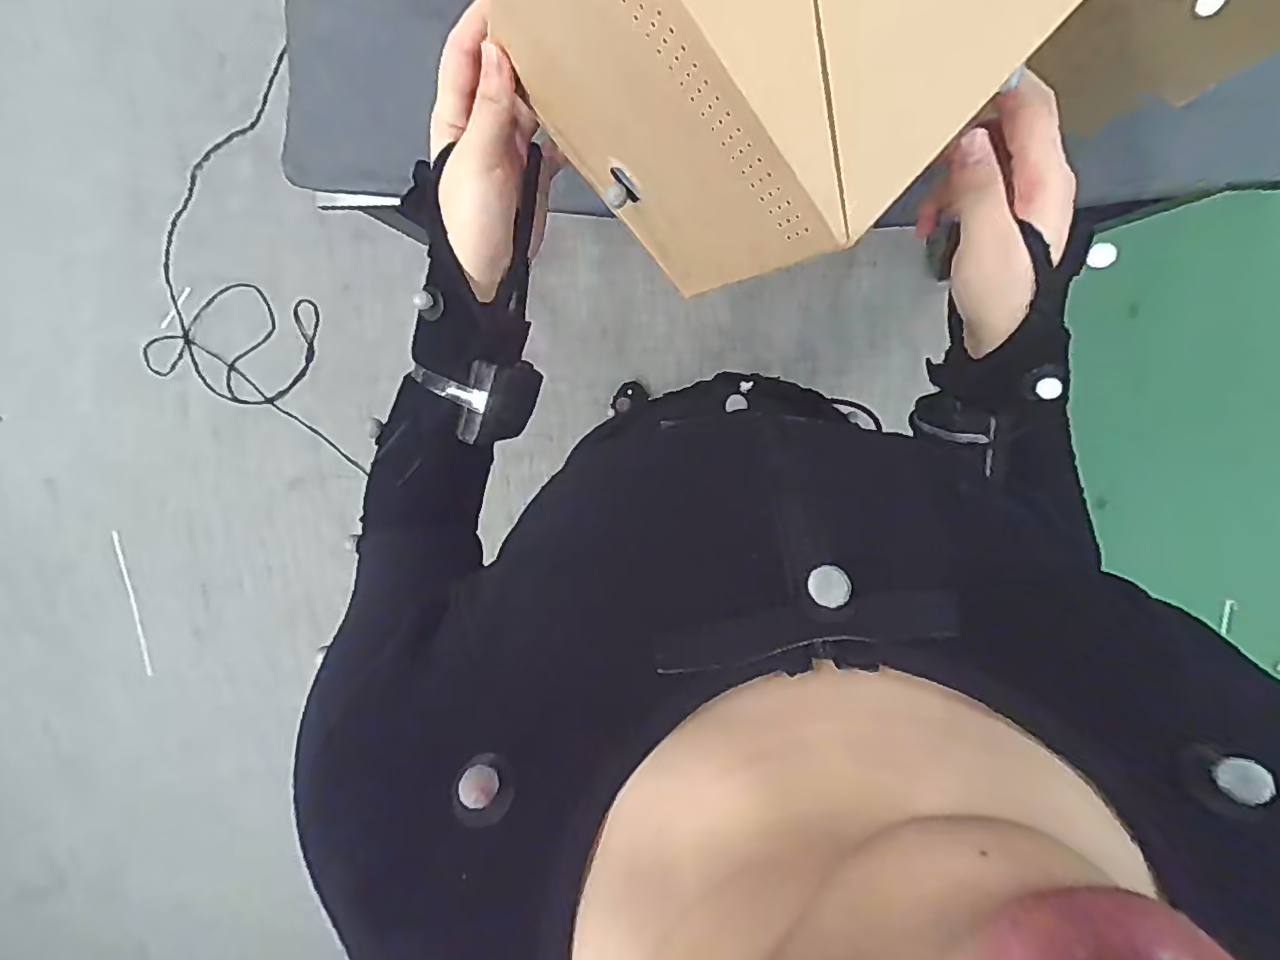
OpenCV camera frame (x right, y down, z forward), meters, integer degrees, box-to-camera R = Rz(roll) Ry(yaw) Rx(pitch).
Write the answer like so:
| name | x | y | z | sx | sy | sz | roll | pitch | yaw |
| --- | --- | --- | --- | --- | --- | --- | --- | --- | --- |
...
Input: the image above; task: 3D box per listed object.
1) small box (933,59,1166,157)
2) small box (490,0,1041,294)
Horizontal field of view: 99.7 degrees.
| name | x | y | z | sx | sy | sz | roll | pitch | yaw |
| --- | --- | --- | --- | --- | --- | --- | --- | --- | --- |
| small box | 0.428 | -0.462 | 0.557 | 0.168 | 0.176 | 0.179 | 1 | 100 | 3 |
| small box | 0.049 | -0.218 | 0.257 | 0.168 | 0.176 | 0.179 | -47 | 111 | -4 |
